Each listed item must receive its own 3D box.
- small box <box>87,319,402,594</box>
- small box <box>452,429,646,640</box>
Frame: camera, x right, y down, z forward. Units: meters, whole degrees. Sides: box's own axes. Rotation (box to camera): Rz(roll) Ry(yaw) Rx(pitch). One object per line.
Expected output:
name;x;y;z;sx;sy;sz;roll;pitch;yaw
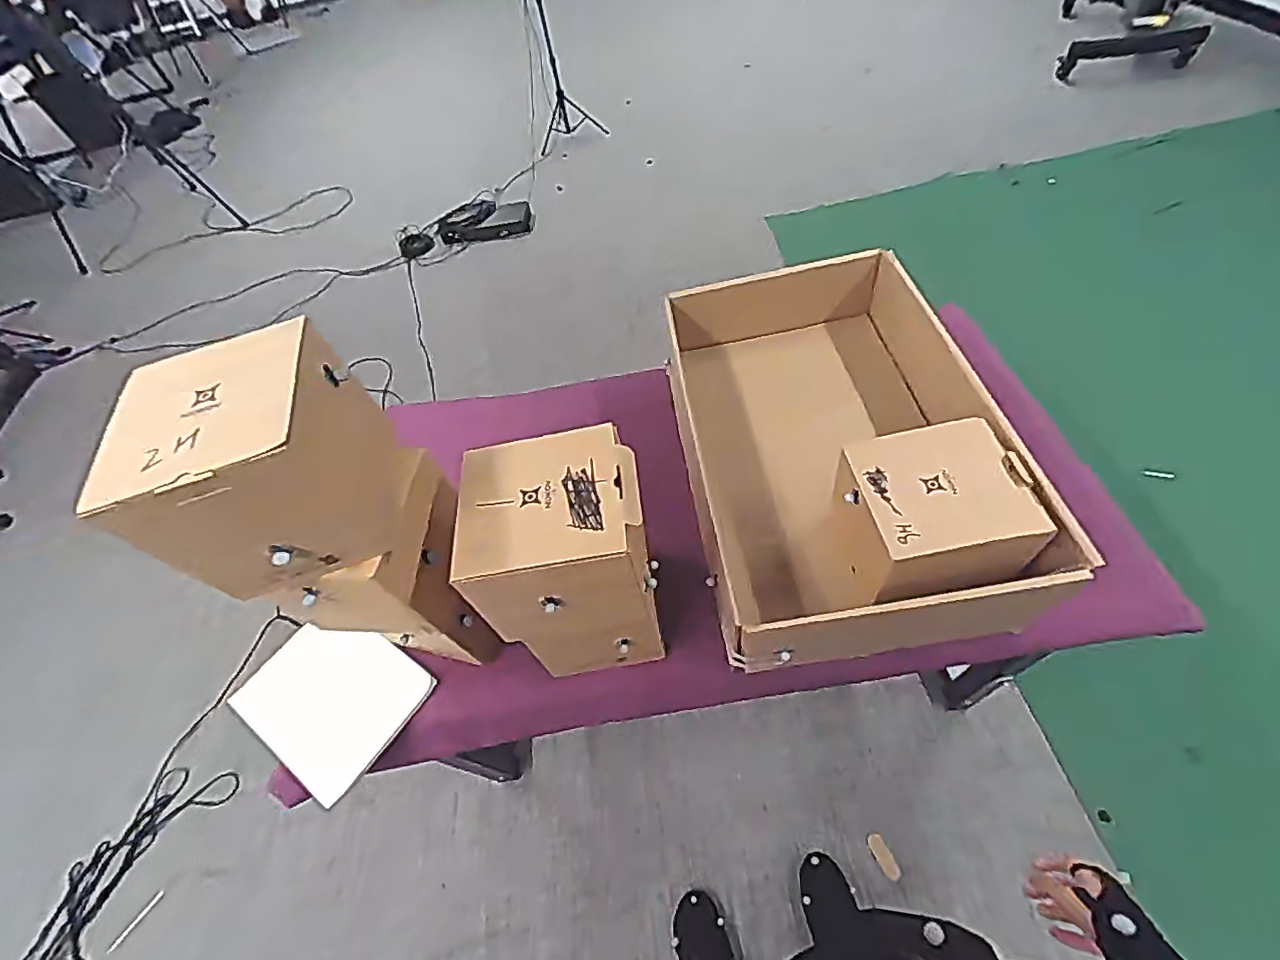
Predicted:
small box;-0.351;-0.018;0.525;0.168;0.176;0.179;-19;54;-2
small box;-0.090;0.068;0.619;0.179;0.176;0.168;-10;52;3
